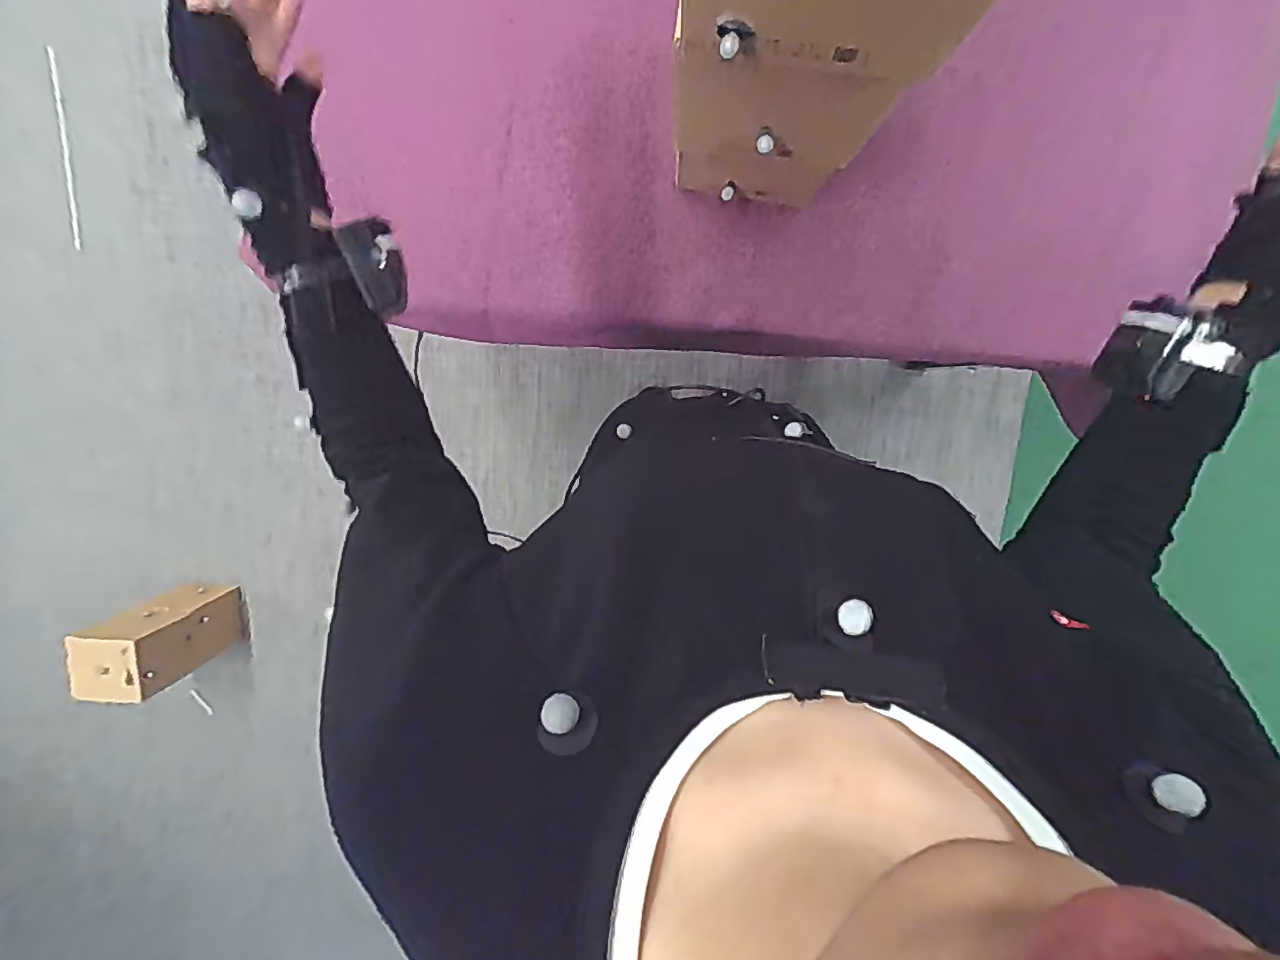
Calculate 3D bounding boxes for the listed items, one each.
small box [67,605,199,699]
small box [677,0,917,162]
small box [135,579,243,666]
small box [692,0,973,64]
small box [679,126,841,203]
[{"bbox_3d":[-1.270,0.426,1.365,0.179,0.176,0.168,4,100,3],"label":"small box"},{"bbox_3d":[0.120,-0.385,0.422,0.168,0.176,0.179,8,100,2],"label":"small box"},{"bbox_3d":[-1.263,0.397,1.526,0.168,0.176,0.179,4,100,2],"label":"small box"},{"bbox_3d":[0.115,-0.347,0.262,0.168,0.176,0.179,9,99,2],"label":"small box"},{"bbox_3d":[0.136,-0.427,0.580,0.168,0.176,0.179,9,101,2],"label":"small box"}]
